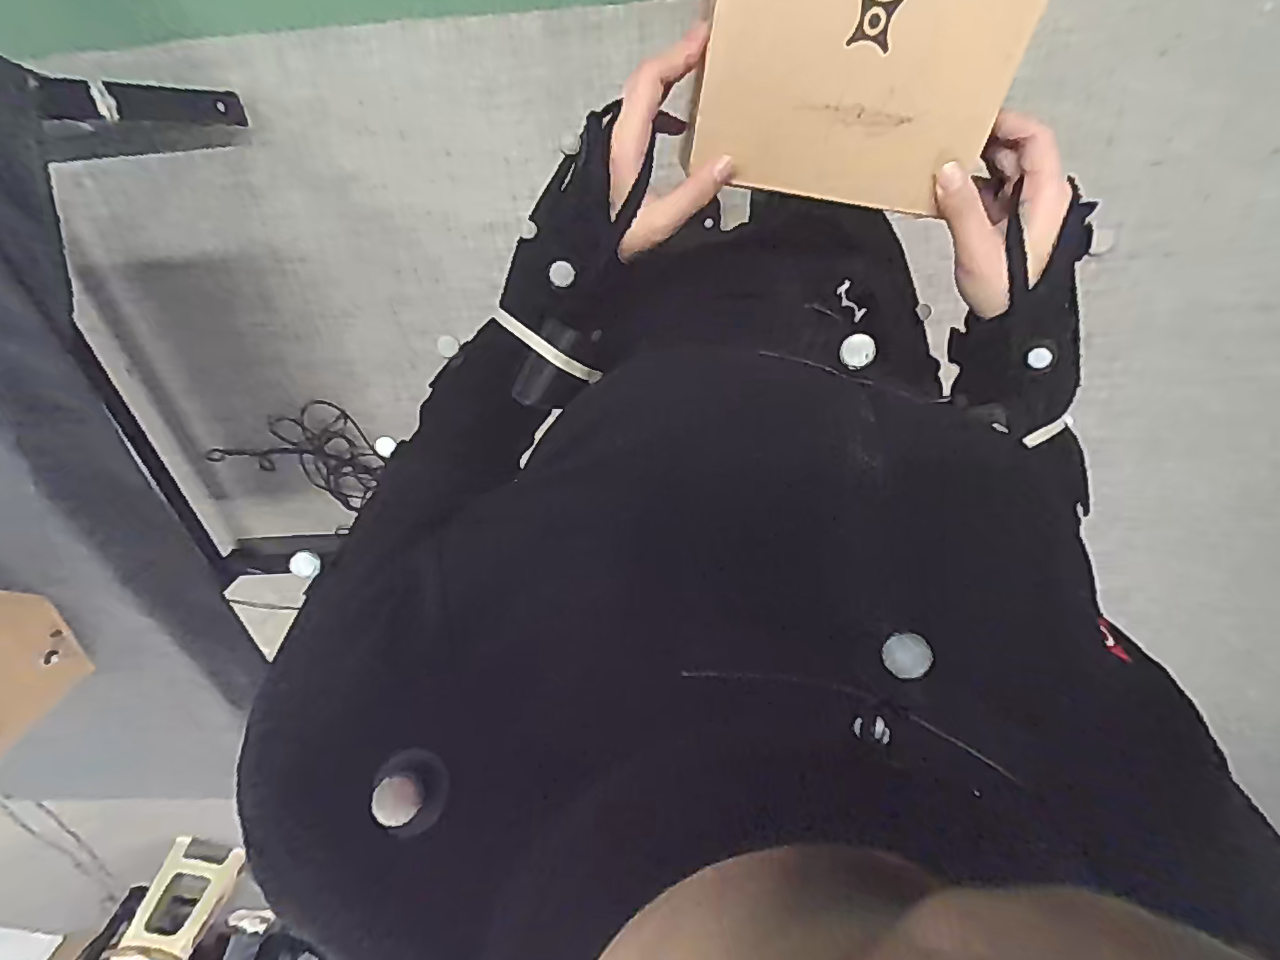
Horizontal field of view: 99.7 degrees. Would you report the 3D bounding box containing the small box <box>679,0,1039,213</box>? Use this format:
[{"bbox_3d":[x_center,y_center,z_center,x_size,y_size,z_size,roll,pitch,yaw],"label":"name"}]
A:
[{"bbox_3d":[0.120,-0.288,0.340,0.168,0.176,0.179,7,125,-4],"label":"small box"}]
